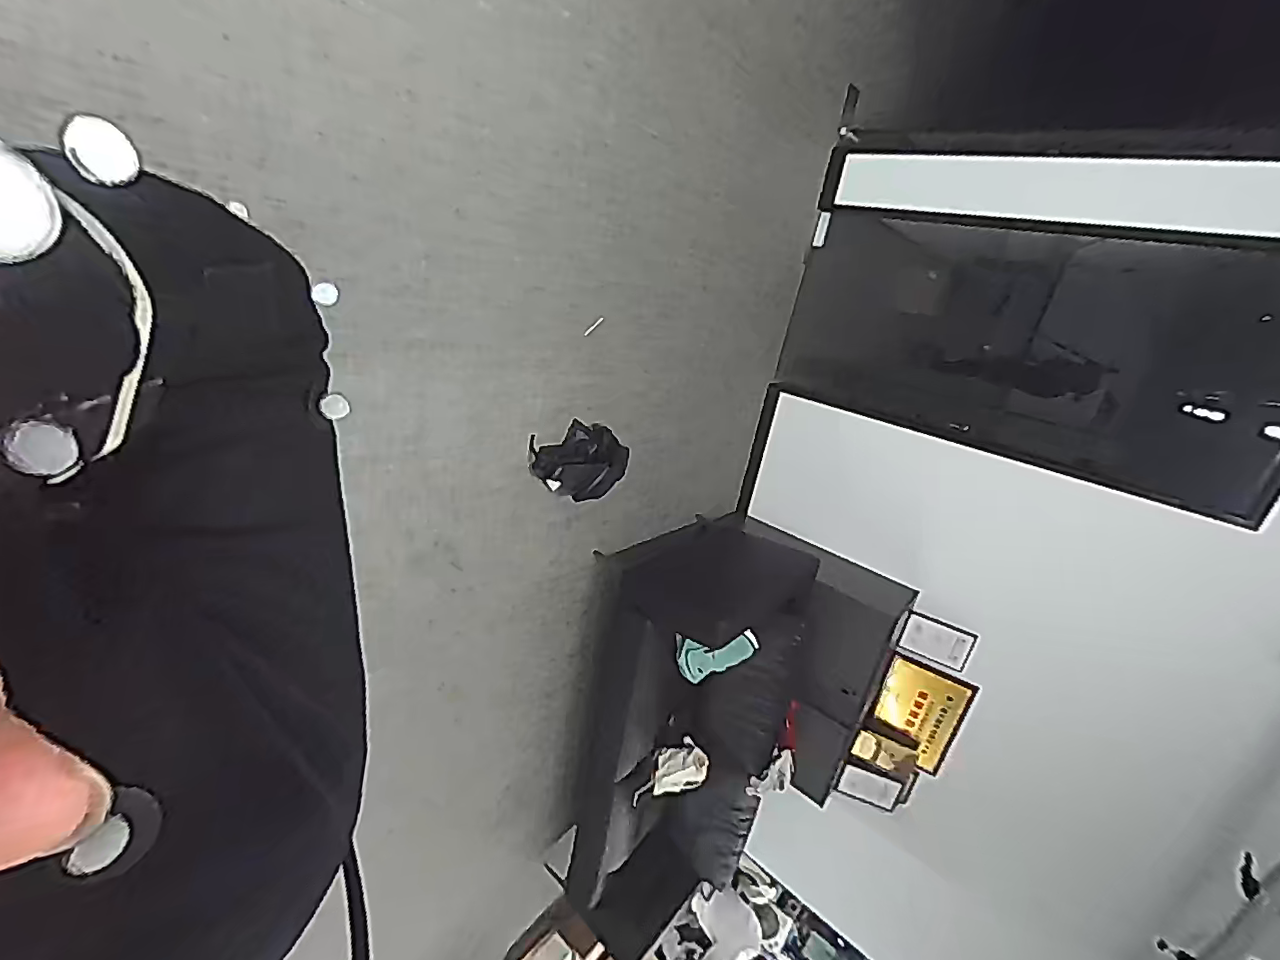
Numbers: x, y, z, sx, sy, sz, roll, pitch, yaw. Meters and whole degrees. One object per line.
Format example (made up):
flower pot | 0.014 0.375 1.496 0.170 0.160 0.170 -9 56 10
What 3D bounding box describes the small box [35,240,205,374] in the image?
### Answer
small box | -0.891 -0.296 0.927 0.179 0.176 0.168 2 109 -54
